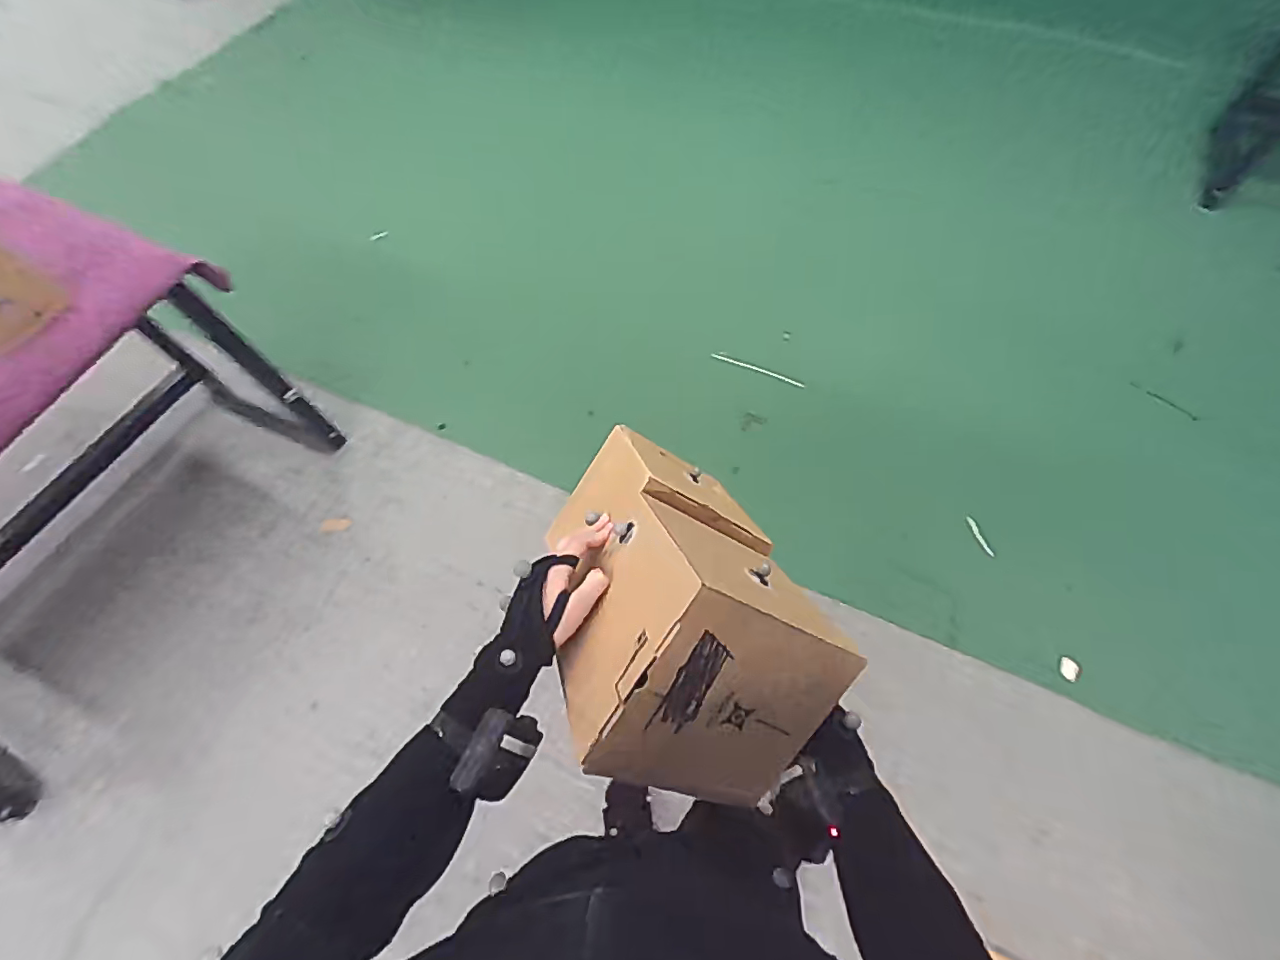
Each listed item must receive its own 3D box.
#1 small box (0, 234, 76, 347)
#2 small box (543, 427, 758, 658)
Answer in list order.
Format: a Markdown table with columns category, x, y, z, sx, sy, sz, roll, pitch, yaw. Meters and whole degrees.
| category | x | y | z | sx | sy | sz | roll | pitch | yaw |
| --- | --- | --- | --- | --- | --- | --- | --- | --- | --- |
| small box | -1.186 | -0.360 | 0.957 | 0.179 | 0.176 | 0.168 | 24 | 67 | 15 |
| small box | -0.002 | 0.064 | 0.629 | 0.168 | 0.176 | 0.179 | 29 | 100 | -23 |
